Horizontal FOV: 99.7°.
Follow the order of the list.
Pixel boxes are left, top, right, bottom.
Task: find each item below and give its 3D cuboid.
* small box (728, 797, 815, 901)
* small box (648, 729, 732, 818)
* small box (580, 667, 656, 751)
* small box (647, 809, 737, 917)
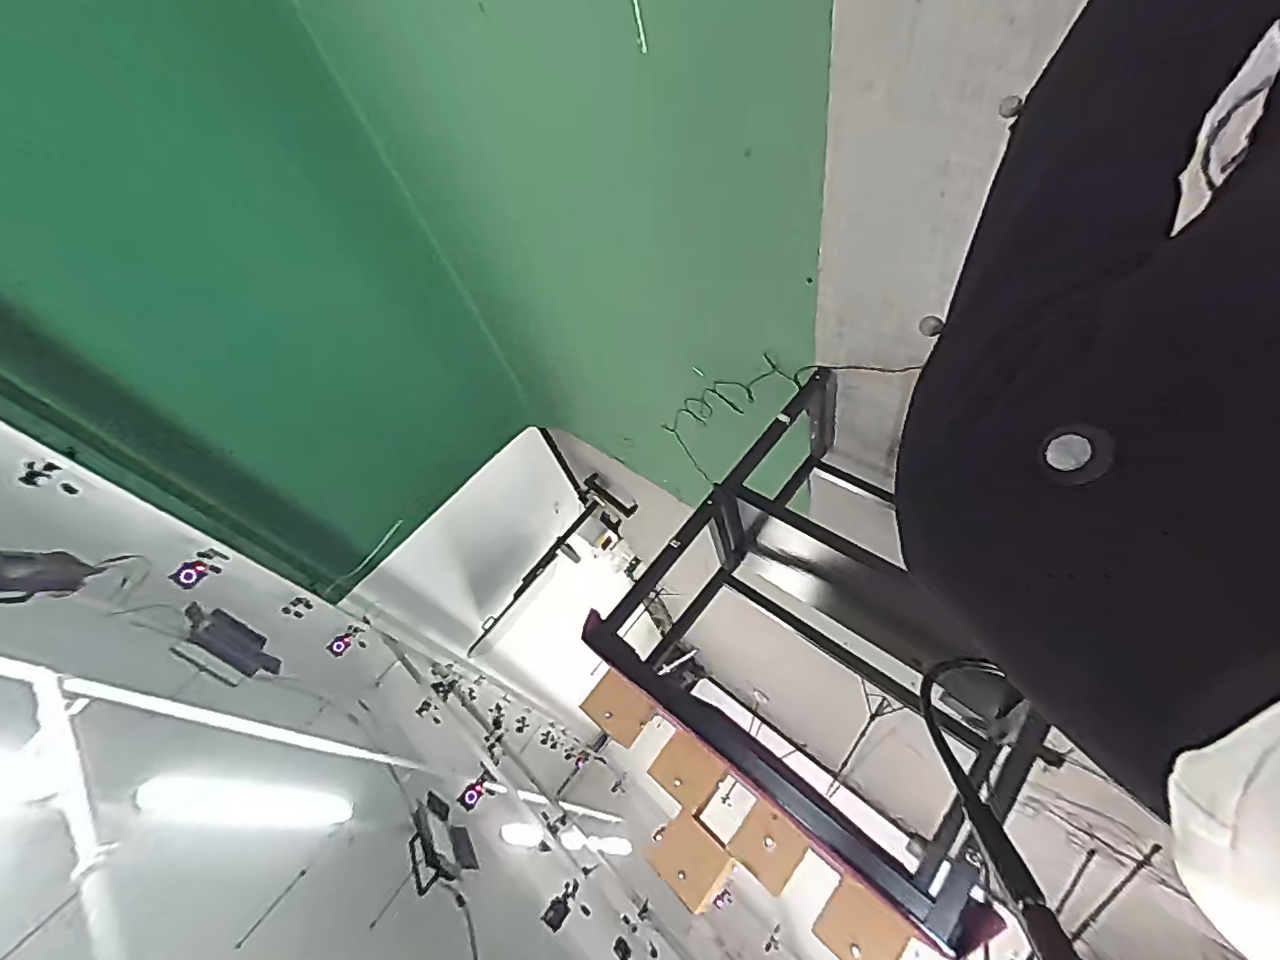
[{"bbox_3d":[0.359,0.991,1.463,0.168,0.176,0.179,31,159,32],"label":"small box"},{"bbox_3d":[0.153,0.868,1.612,0.179,0.176,0.168,29,159,30],"label":"small box"},{"bbox_3d":[-0.061,0.742,1.756,0.179,0.176,0.168,31,157,28],"label":"small box"},{"bbox_3d":[0.153,1.049,1.490,0.179,0.176,0.168,31,160,34],"label":"small box"}]
